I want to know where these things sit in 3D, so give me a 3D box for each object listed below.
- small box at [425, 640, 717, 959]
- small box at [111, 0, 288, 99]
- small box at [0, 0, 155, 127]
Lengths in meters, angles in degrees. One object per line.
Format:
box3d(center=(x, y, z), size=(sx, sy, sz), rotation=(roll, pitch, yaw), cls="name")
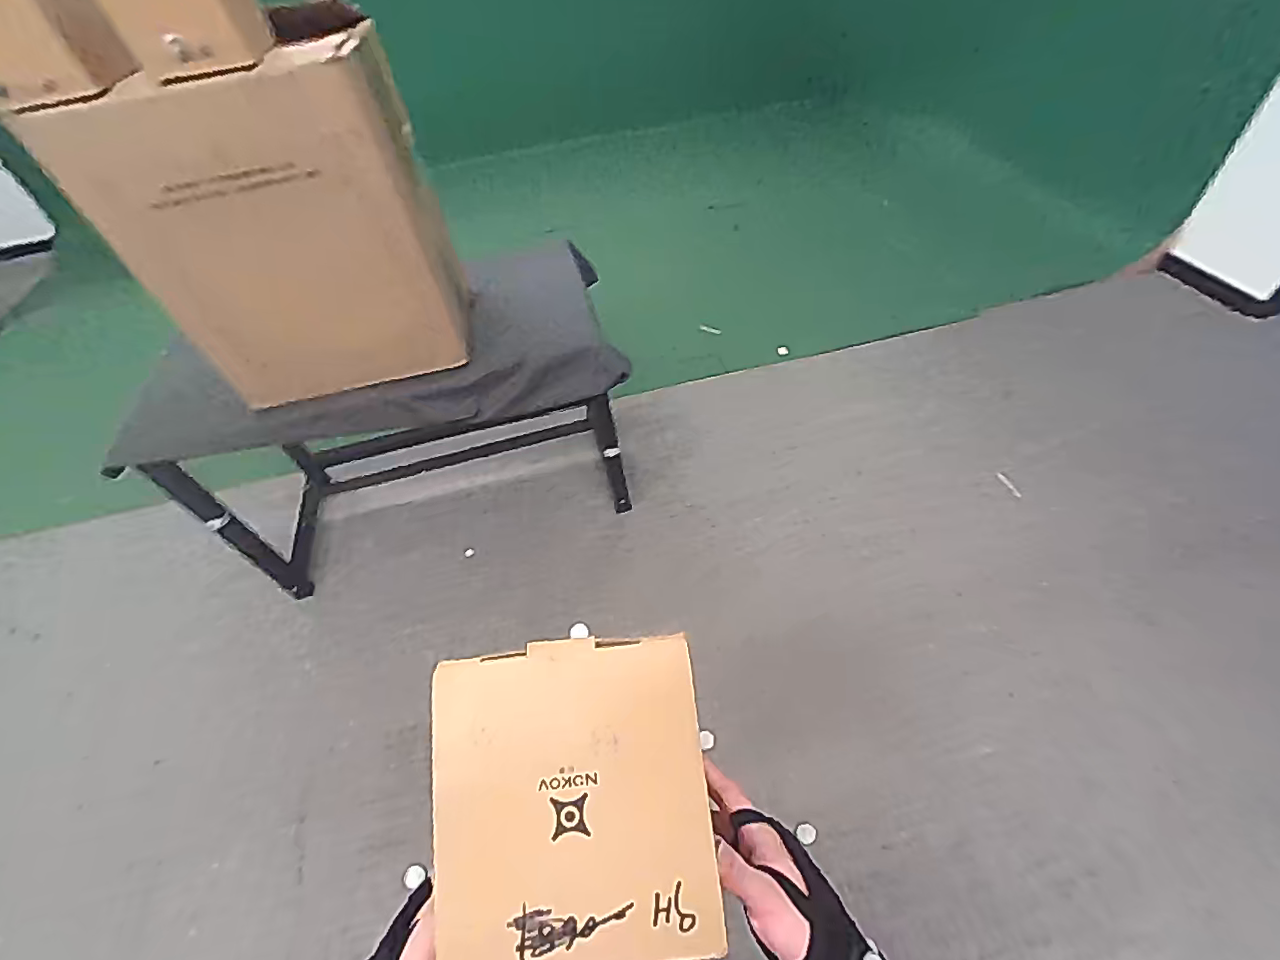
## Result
box3d(center=(-0.043, 0.220, 0.400), size=(0.168, 0.176, 0.179), rotation=(-7, 72, 1), cls="small box")
box3d(center=(-0.717, -0.752, 0.886), size=(0.168, 0.176, 0.179), rotation=(-14, 50, -3), cls="small box")
box3d(center=(-0.950, -0.693, 0.872), size=(0.168, 0.176, 0.179), rotation=(-13, 48, -1), cls="small box")
